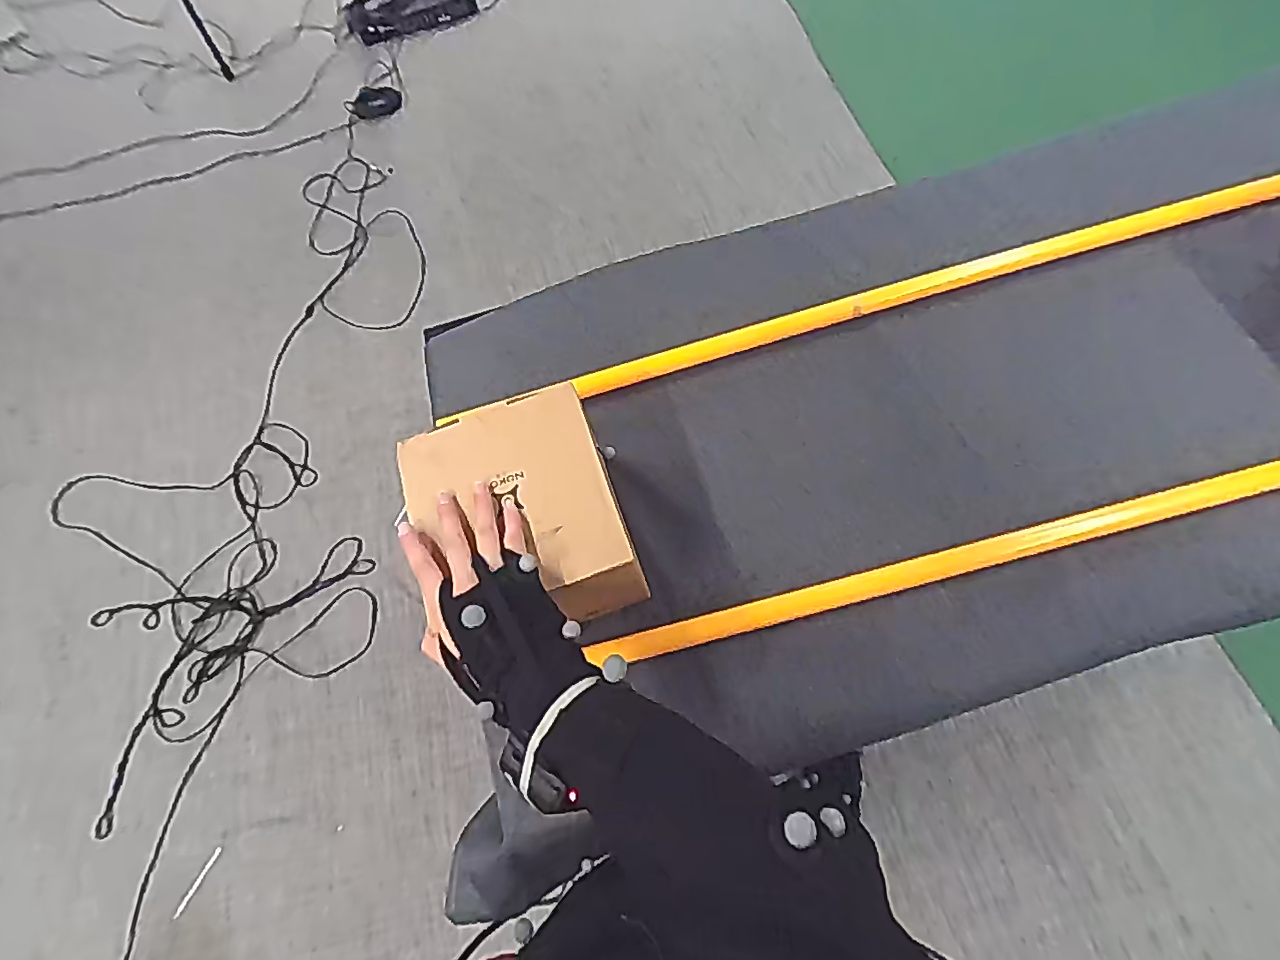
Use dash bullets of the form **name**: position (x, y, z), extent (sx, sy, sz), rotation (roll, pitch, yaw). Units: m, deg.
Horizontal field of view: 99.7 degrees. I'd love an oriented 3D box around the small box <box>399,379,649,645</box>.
- **small box**: position (-0.098, 0.040, 0.515), extent (0.168, 0.176, 0.179), rotation (-21, 68, -2)
